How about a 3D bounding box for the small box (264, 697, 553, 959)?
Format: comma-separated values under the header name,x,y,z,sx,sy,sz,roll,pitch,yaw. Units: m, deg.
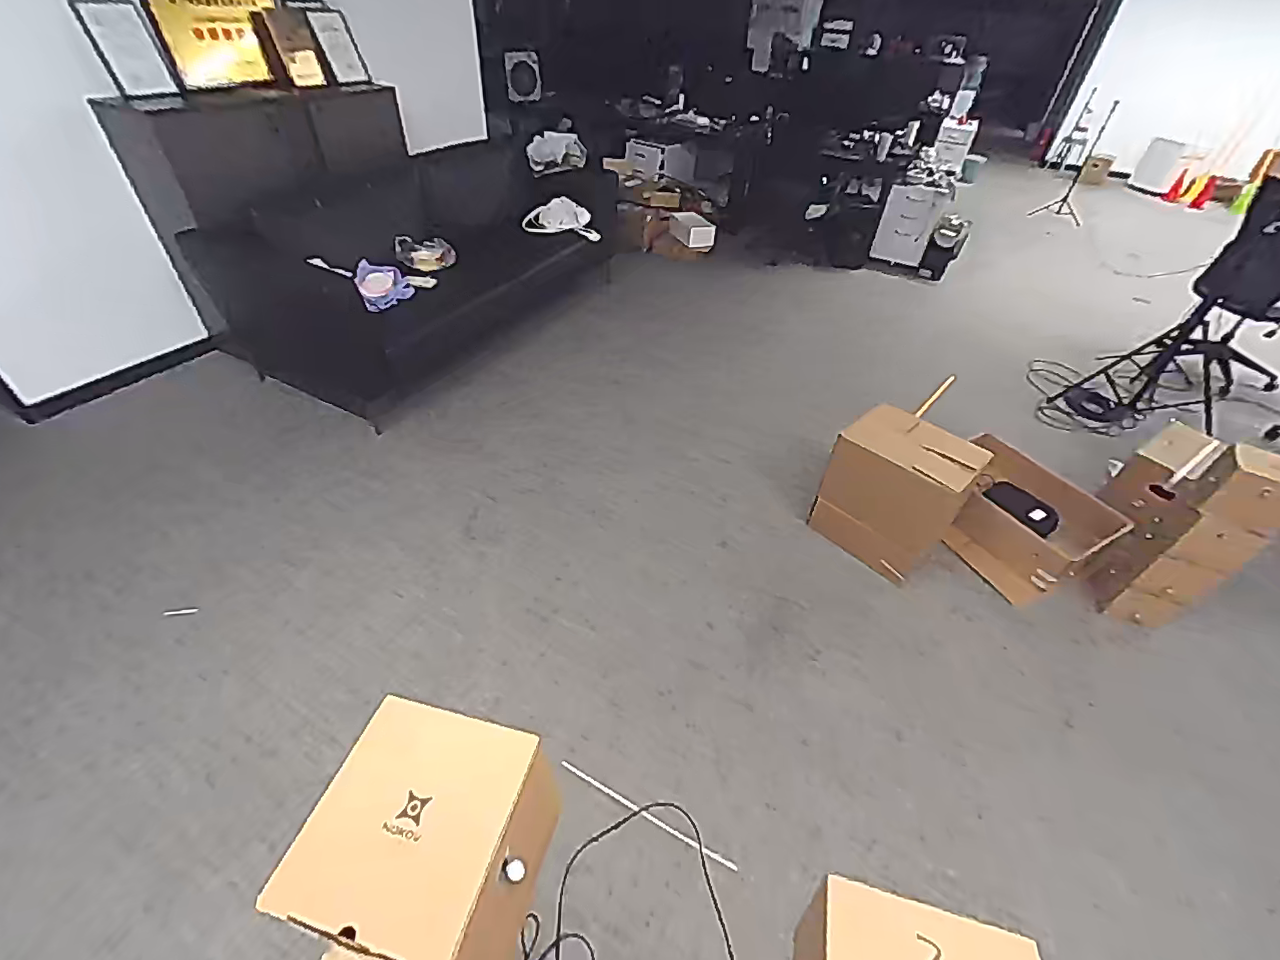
name,x,y,z,sx,sy,sz,roll,pitch,yaw
small box,-0.192,0.345,0.515,0.168,0.176,0.179,9,44,13
